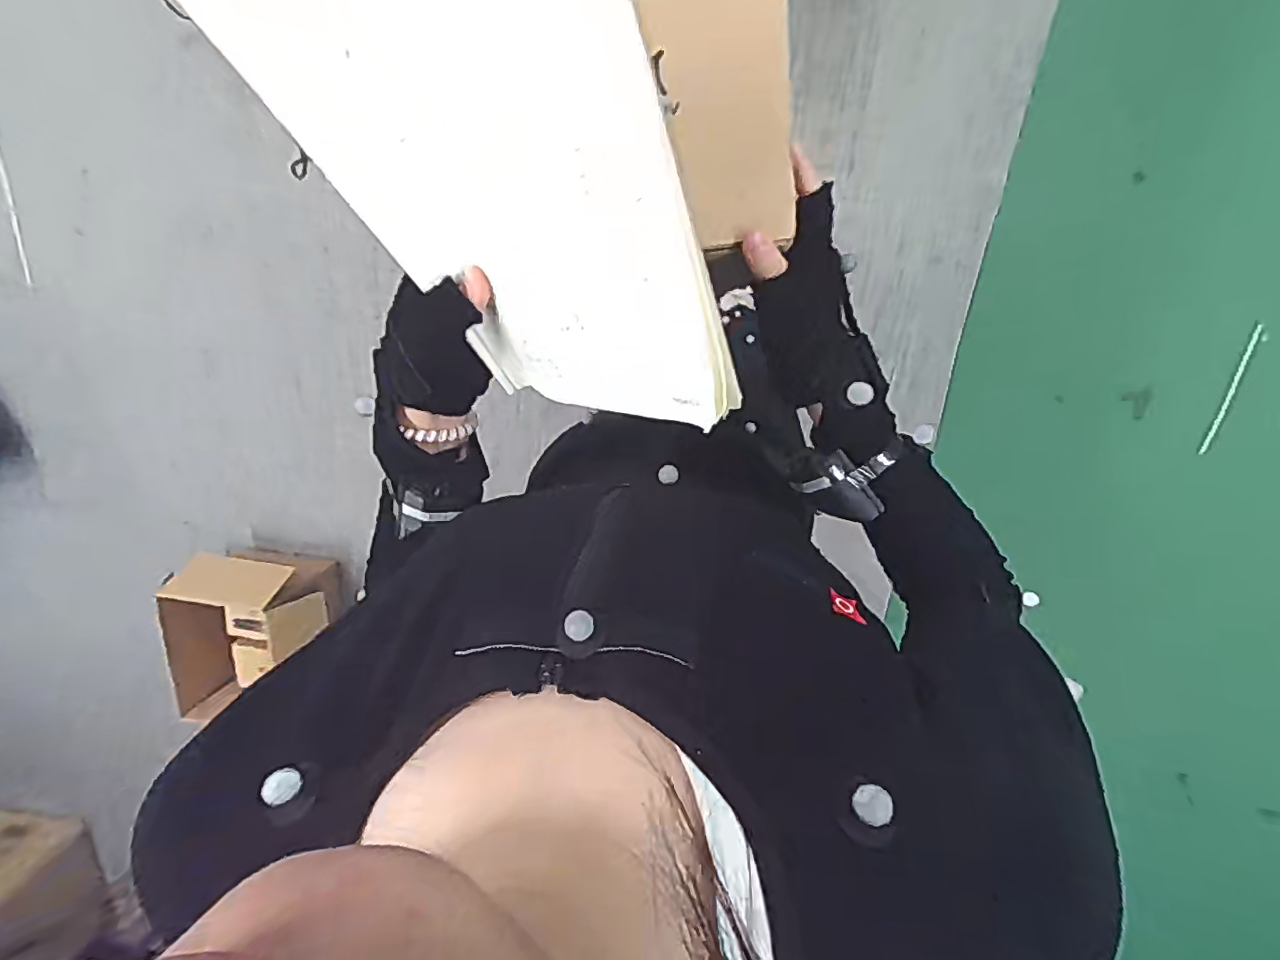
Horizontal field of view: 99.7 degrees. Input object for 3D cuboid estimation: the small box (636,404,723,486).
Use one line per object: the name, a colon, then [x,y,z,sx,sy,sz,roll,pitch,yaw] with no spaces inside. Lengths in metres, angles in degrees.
small box: [0.102,-0.090,1.408,0.168,0.176,0.179,-16,87,19]
